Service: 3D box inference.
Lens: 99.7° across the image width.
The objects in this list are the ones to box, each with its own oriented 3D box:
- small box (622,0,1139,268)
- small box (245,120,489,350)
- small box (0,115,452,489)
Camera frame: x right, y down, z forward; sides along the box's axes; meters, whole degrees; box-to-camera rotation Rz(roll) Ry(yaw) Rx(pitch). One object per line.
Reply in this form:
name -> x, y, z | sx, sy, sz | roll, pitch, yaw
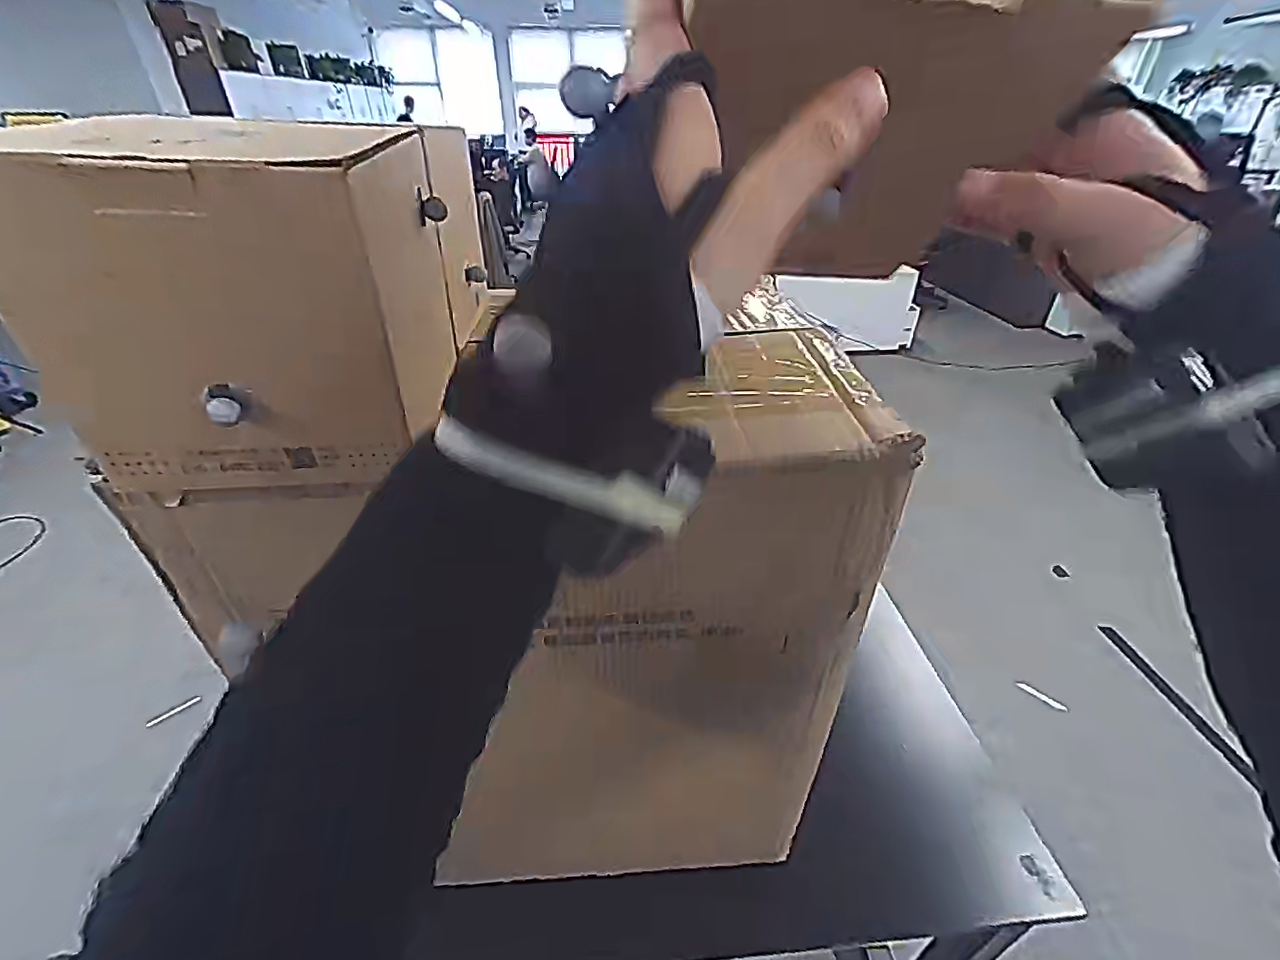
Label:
small box -> 0.082, -0.229, 0.273 | 0.168, 0.176, 0.179 | -2, 78, -8
small box -> -0.245, -0.214, 0.479 | 0.179, 0.176, 0.168 | -1, 33, -4
small box -> -0.219, -0.112, 0.331 | 0.168, 0.176, 0.179 | -3, 38, -8
